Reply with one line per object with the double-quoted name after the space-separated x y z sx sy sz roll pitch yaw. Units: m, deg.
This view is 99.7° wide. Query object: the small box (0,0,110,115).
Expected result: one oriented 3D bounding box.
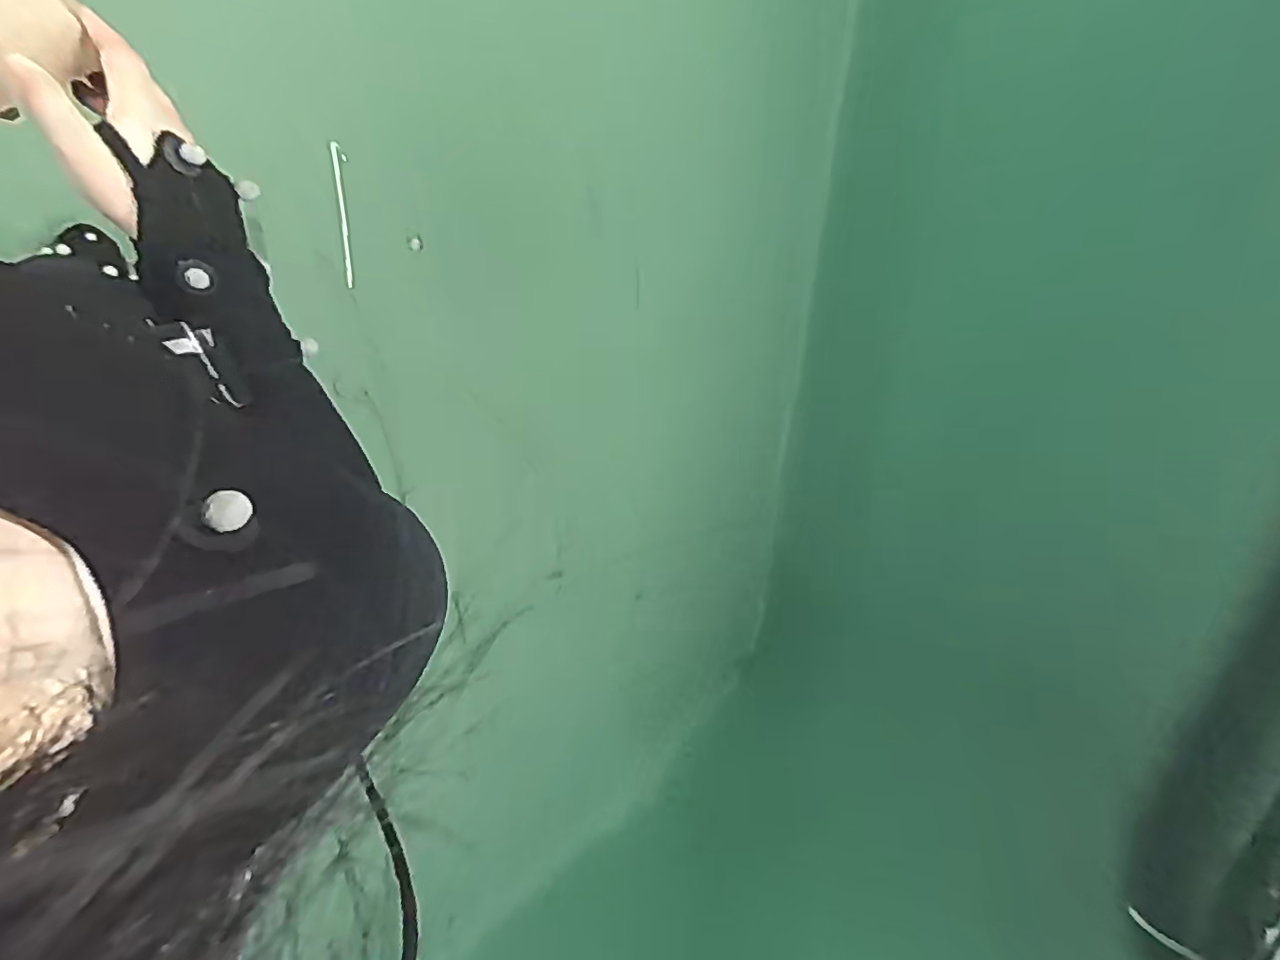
-0.468 -0.313 0.305 0.168 0.176 0.179 -38 146 -12 "small box"
